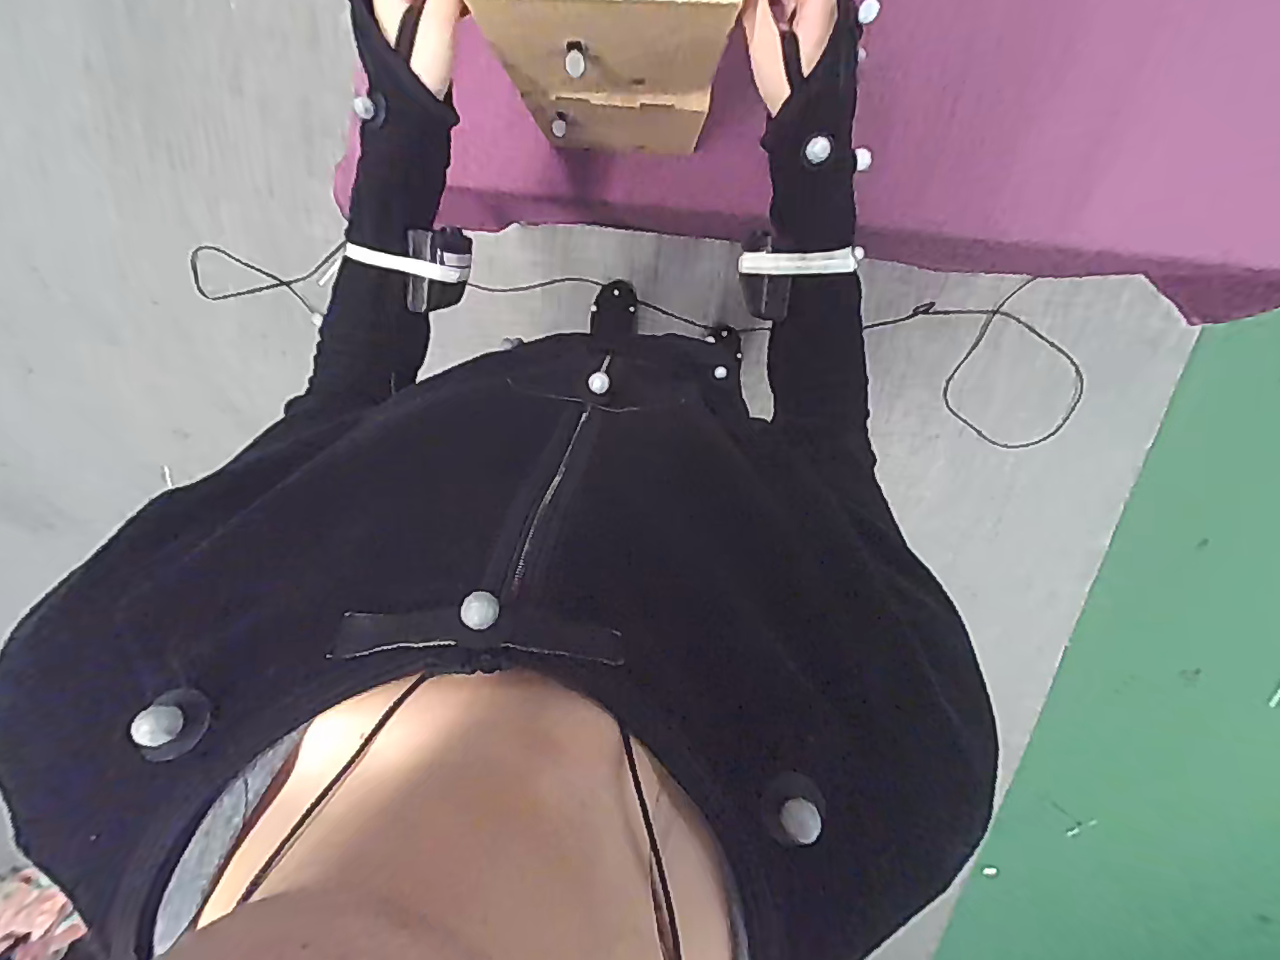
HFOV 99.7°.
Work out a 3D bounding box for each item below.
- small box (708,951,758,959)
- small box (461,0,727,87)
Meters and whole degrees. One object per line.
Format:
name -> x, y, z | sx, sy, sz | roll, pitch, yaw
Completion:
small box -> 0.336, 1.801, 1.901 | 0.179, 0.176, 0.168 | 1, 110, -2
small box -> -0.023, -0.384, 0.352 | 0.168, 0.176, 0.179 | 1, 109, -1
